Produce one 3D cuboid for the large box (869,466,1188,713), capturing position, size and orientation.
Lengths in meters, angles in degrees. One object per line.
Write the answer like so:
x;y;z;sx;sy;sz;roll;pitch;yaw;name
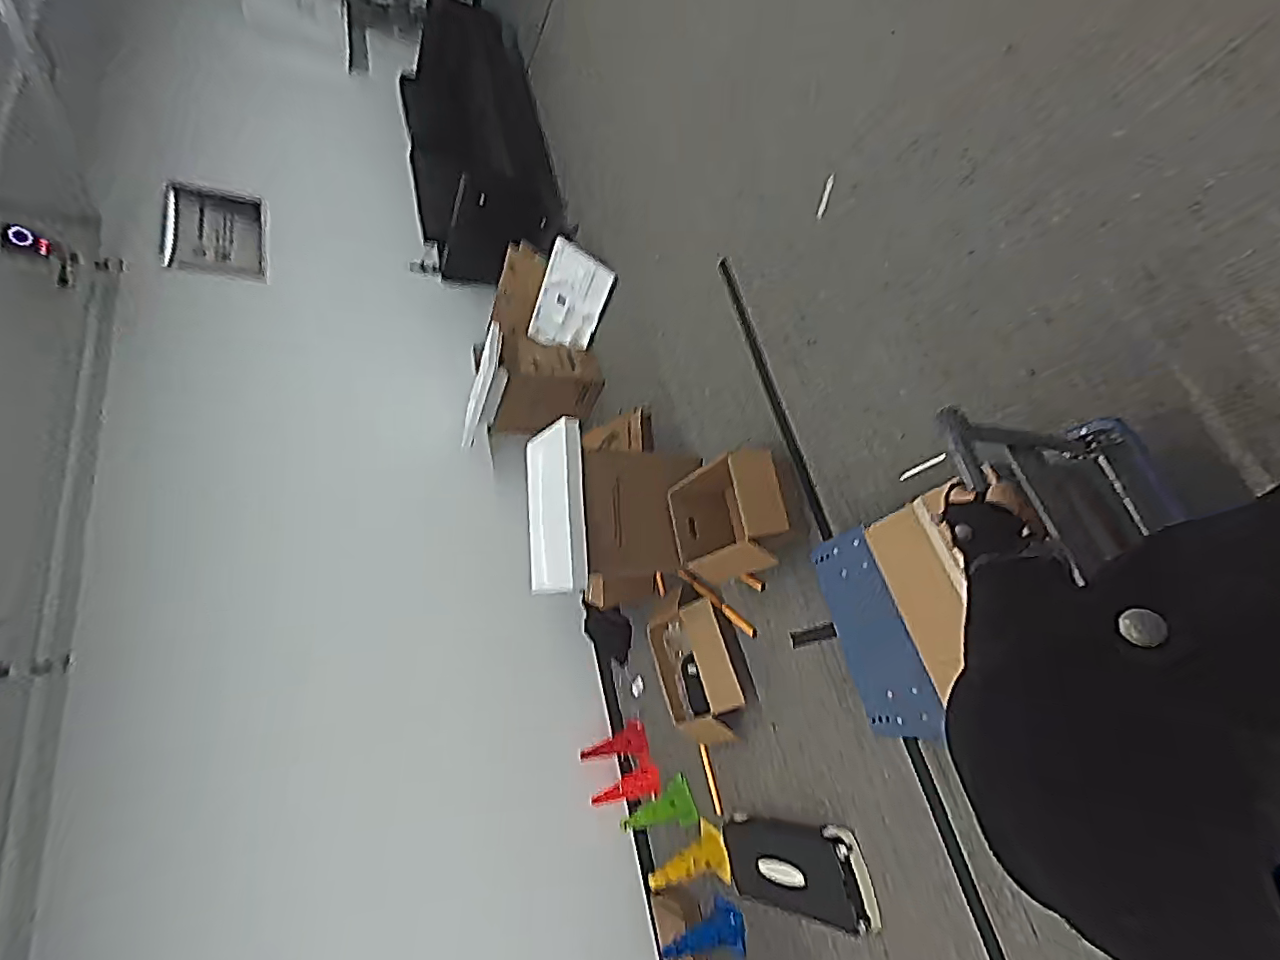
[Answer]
0.769;0.216;1.113;0.320;0.320;0.408;-47;51;48;large box
